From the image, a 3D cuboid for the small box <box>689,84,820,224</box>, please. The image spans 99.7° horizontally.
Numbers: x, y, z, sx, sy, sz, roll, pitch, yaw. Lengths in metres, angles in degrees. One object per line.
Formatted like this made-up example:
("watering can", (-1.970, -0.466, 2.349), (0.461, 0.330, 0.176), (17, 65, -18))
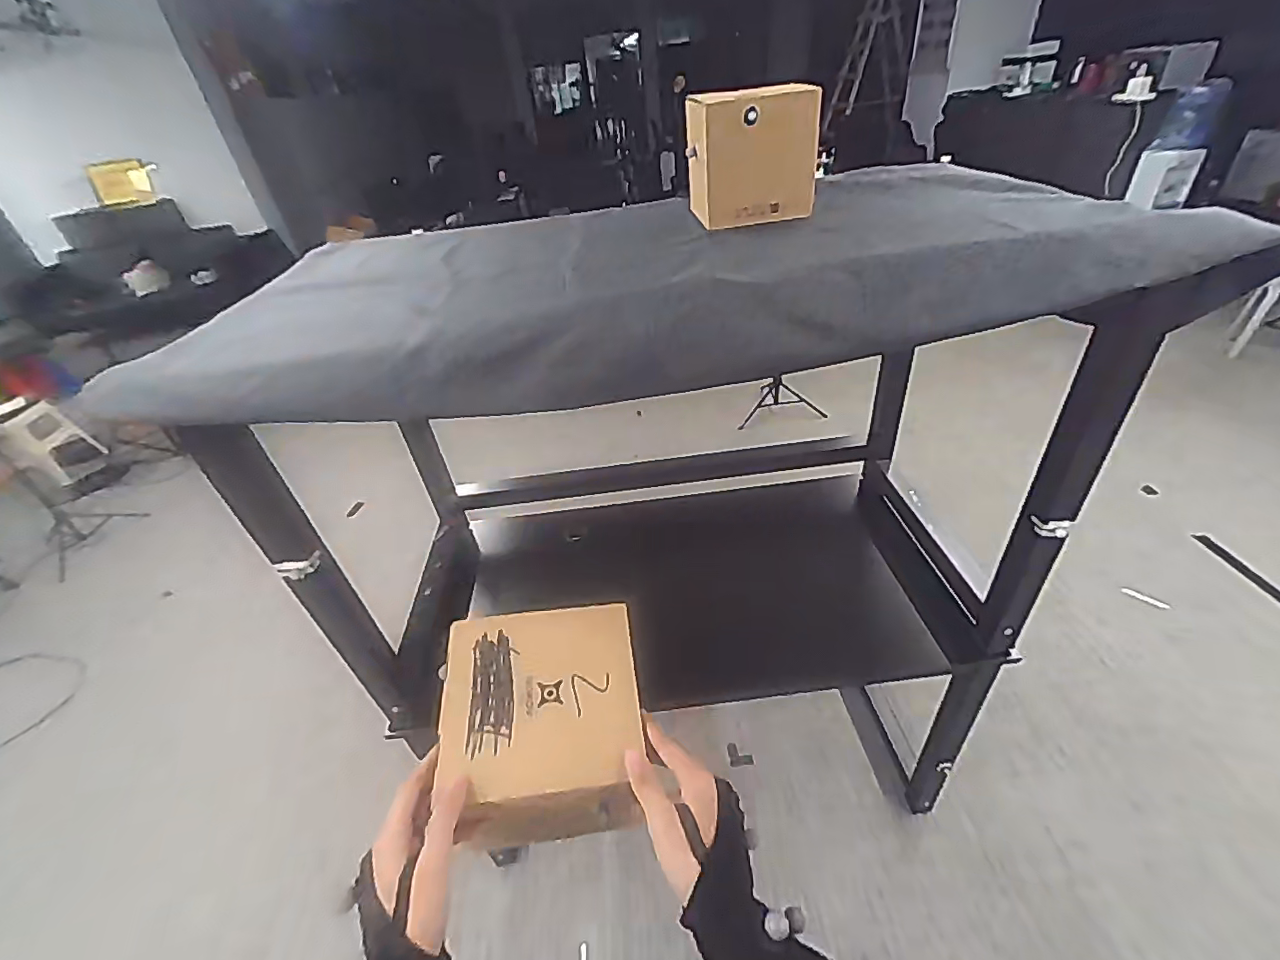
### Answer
("small box", (0.172, -0.518, 0.862), (0.168, 0.176, 0.179), (-8, 36, 0))
